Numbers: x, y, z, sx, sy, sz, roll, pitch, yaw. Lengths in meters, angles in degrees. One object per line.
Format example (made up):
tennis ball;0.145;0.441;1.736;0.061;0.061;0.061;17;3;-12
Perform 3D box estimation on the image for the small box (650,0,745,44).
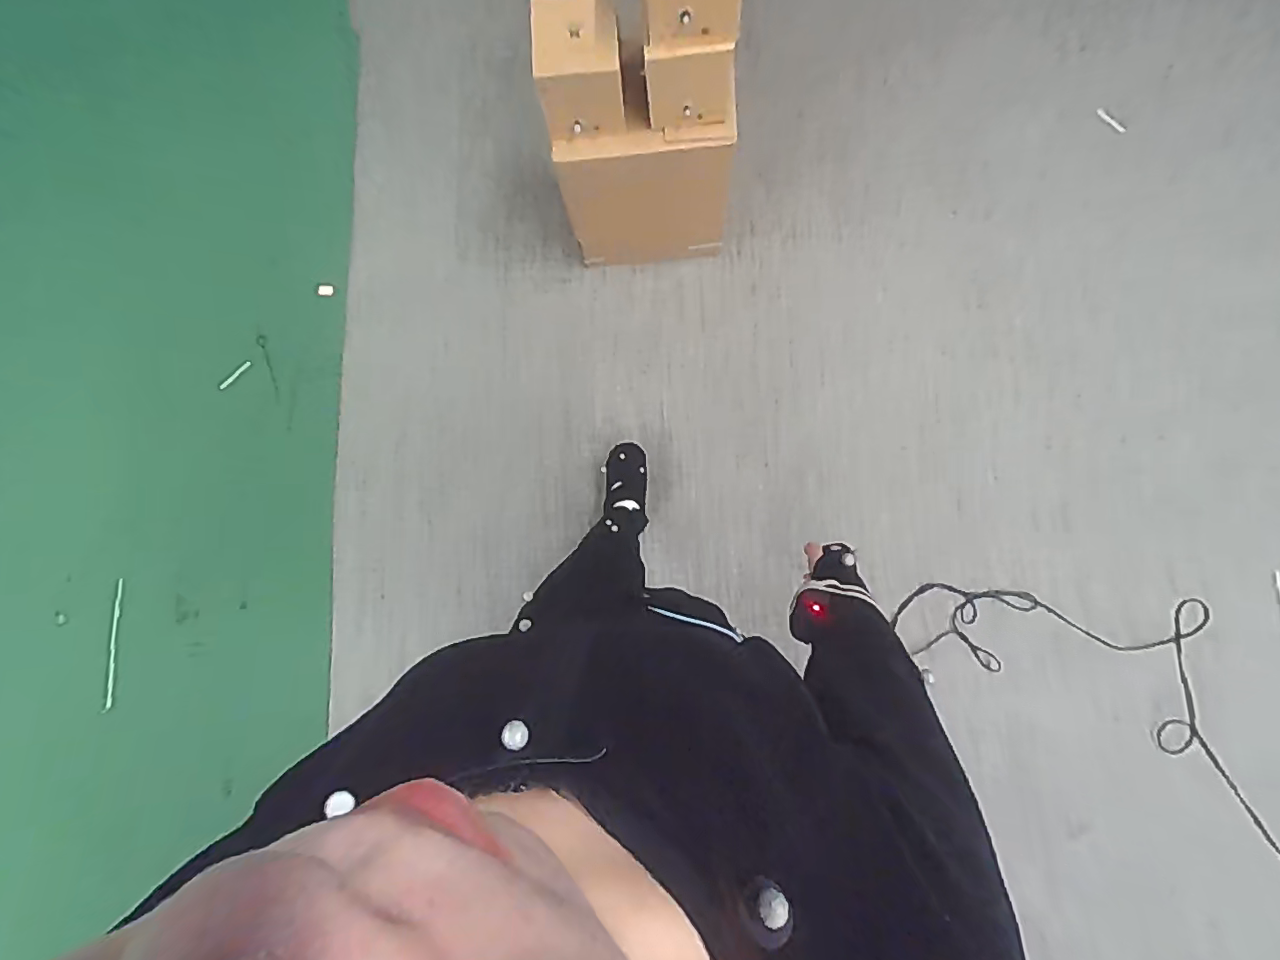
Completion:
small box;0.100;-0.906;0.932;0.168;0.176;0.179;0;82;5
